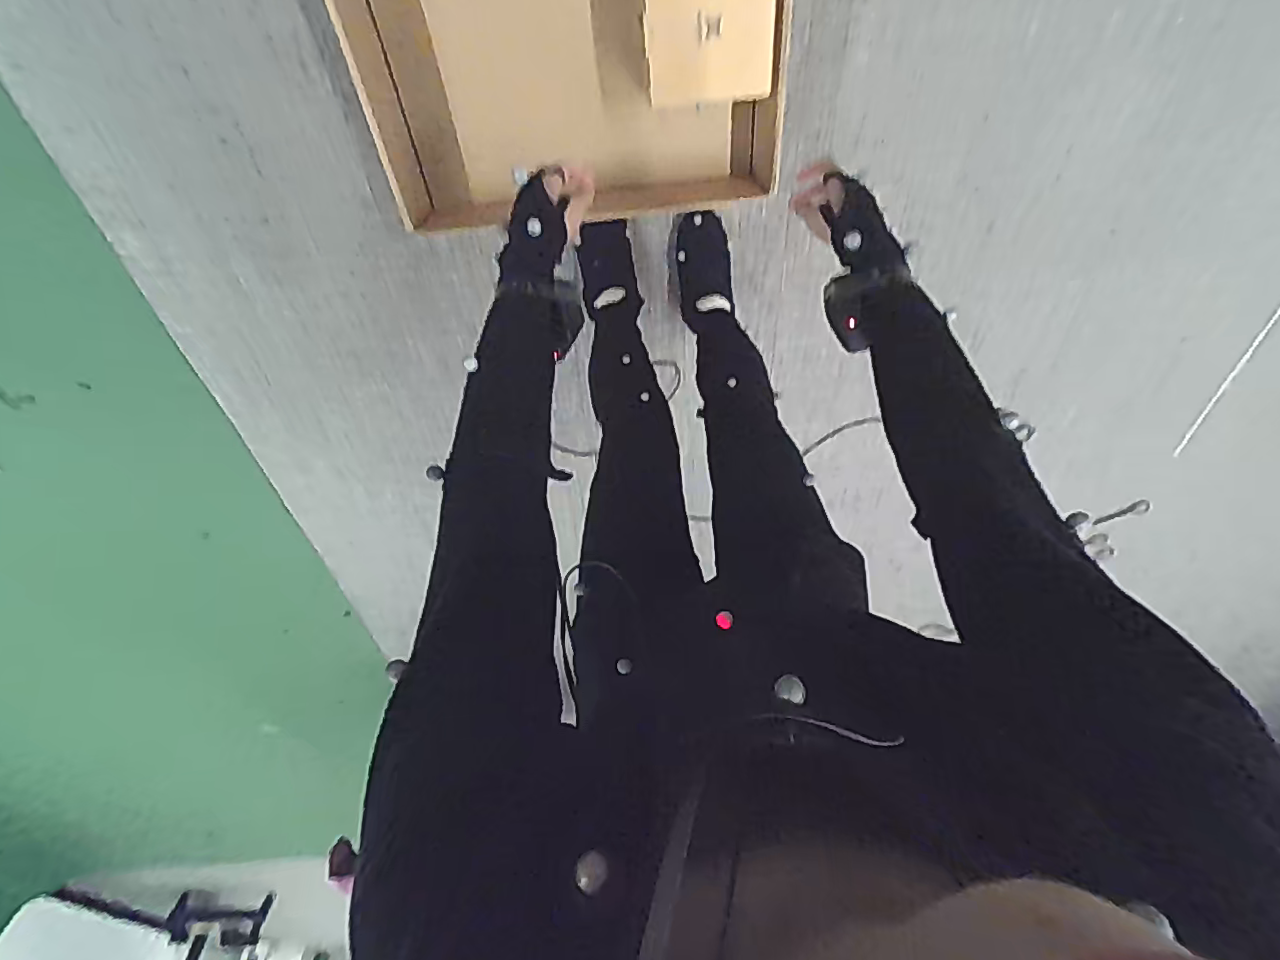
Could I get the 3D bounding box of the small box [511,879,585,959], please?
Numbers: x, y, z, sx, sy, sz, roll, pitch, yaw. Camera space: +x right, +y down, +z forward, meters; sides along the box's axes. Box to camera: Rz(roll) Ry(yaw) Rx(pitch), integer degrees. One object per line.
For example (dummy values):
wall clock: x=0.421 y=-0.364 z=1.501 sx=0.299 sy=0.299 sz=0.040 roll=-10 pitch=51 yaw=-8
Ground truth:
small box: x=-0.241 y=1.204 z=1.466 sx=0.179 sy=0.176 sz=0.168 roll=-3 pitch=131 yaw=-1
